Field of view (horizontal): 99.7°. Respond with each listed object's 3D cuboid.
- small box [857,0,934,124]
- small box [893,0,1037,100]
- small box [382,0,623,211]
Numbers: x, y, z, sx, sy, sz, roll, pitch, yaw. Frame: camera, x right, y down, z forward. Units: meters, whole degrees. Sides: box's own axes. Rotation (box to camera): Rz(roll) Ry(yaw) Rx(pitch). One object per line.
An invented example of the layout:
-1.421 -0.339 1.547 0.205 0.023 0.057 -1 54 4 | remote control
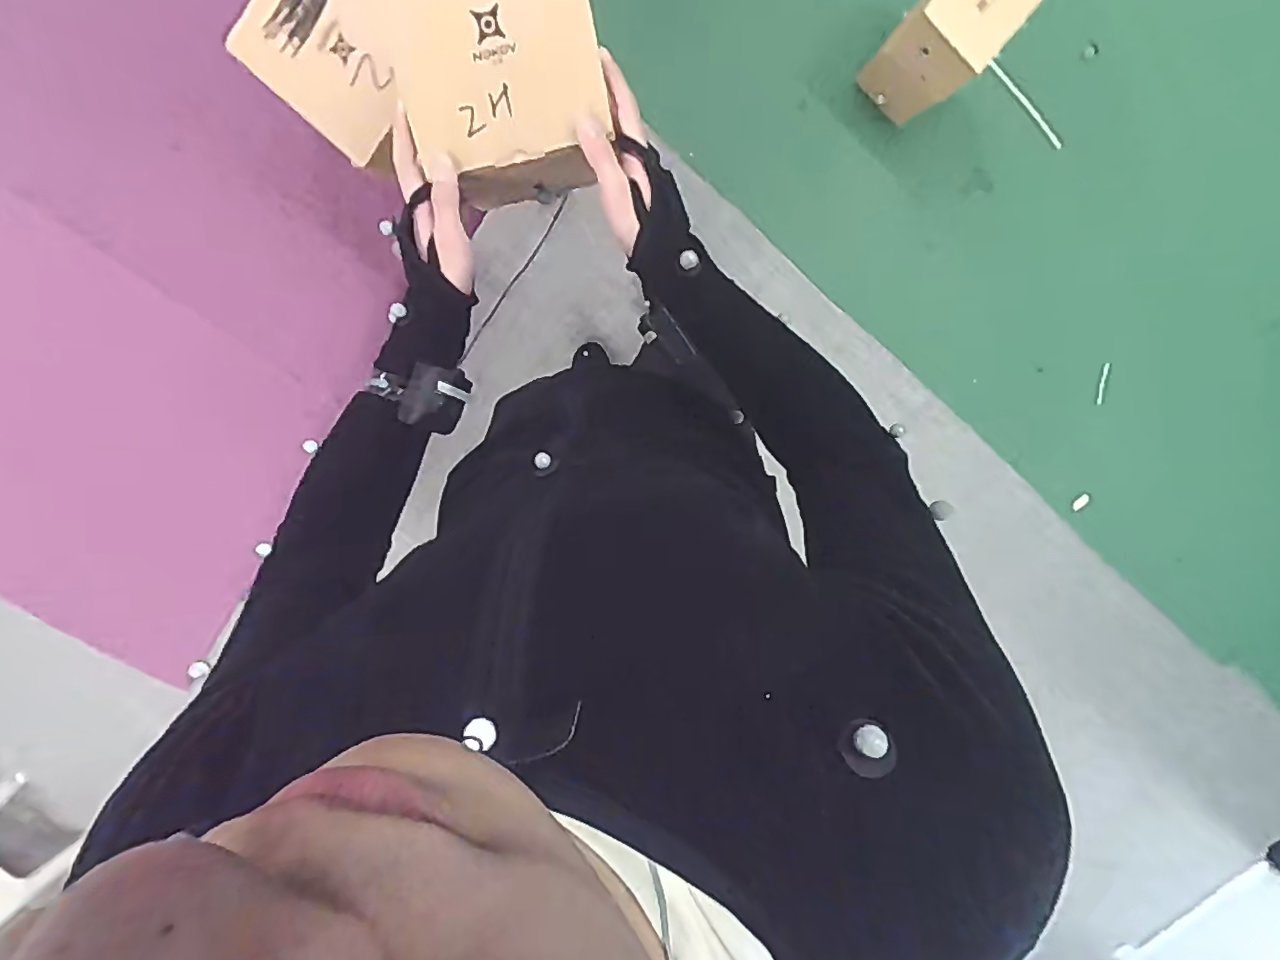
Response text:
0.651 -0.992 1.272 0.168 0.176 0.179 37 104 -11 | small box
0.658 -0.943 1.119 0.168 0.176 0.179 37 102 -11 | small box
-0.112 -0.370 0.500 0.168 0.176 0.179 -10 109 4 | small box
